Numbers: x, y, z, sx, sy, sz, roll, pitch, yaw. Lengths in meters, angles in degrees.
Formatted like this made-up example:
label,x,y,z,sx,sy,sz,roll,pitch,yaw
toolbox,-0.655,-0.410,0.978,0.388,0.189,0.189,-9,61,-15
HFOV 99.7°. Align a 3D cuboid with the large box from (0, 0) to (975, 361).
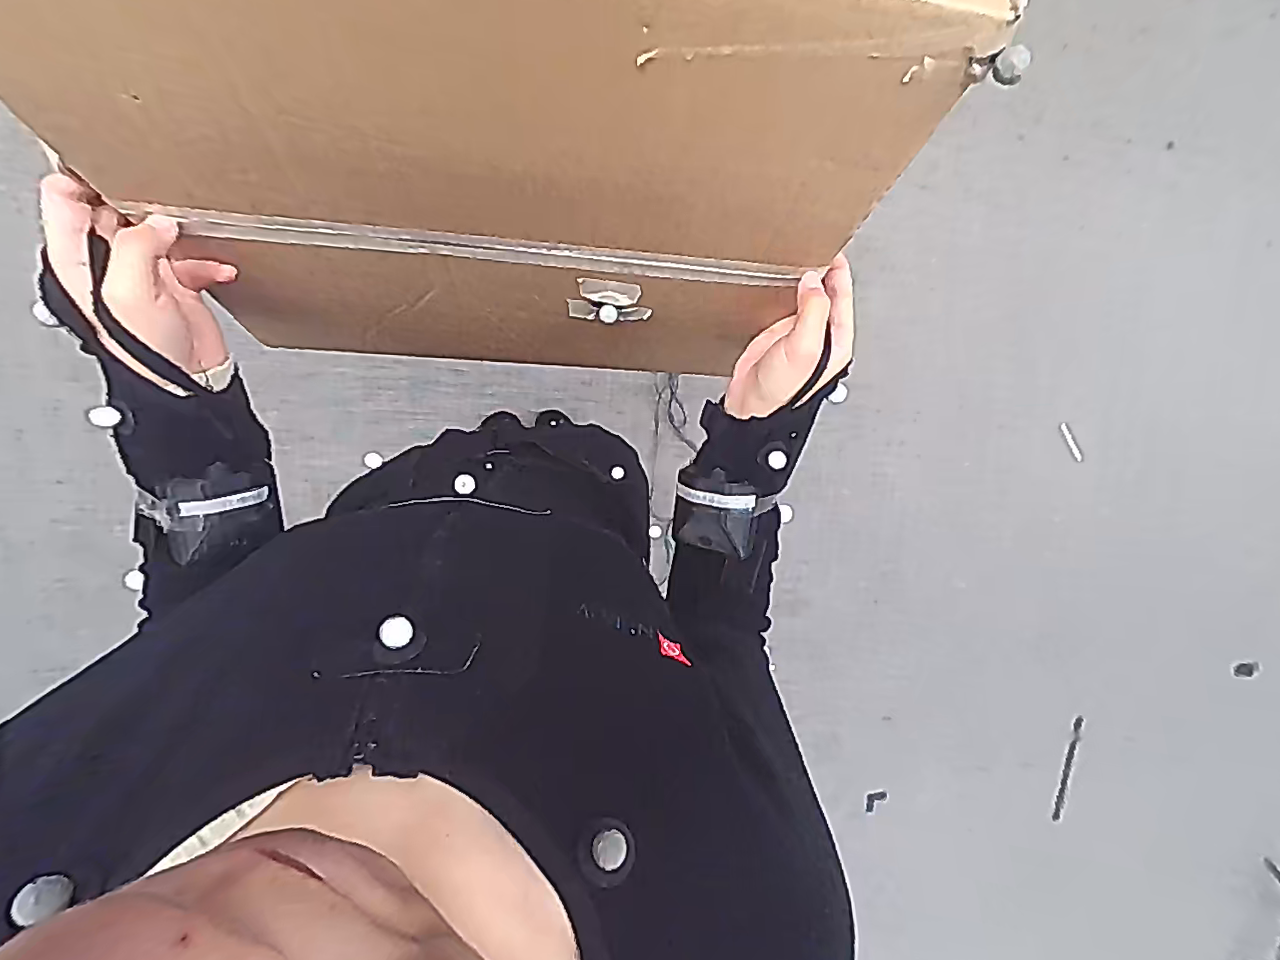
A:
label,x,y,z,sx,sy,sz,roll,pitch,yaw
large box,-0.090,-0.295,0.364,0.408,0.320,0.320,1,77,-9
